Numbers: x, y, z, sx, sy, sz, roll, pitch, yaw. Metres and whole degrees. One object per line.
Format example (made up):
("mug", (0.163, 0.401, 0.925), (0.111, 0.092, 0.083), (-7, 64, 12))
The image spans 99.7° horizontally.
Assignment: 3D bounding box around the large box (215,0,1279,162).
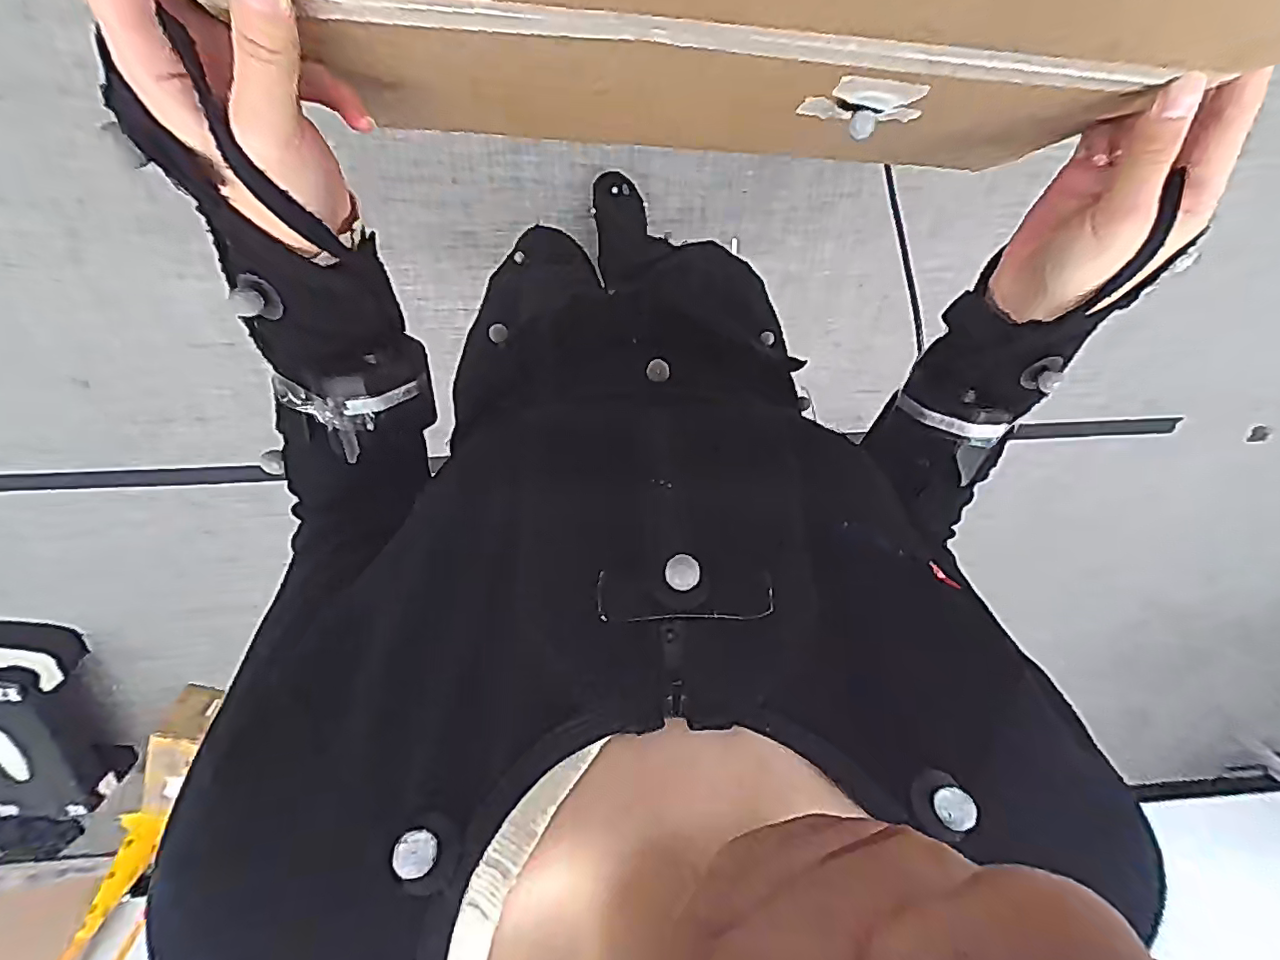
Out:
("large box", (0.045, -0.317, 0.162), (0.408, 0.320, 0.320), (0, 108, -6))
